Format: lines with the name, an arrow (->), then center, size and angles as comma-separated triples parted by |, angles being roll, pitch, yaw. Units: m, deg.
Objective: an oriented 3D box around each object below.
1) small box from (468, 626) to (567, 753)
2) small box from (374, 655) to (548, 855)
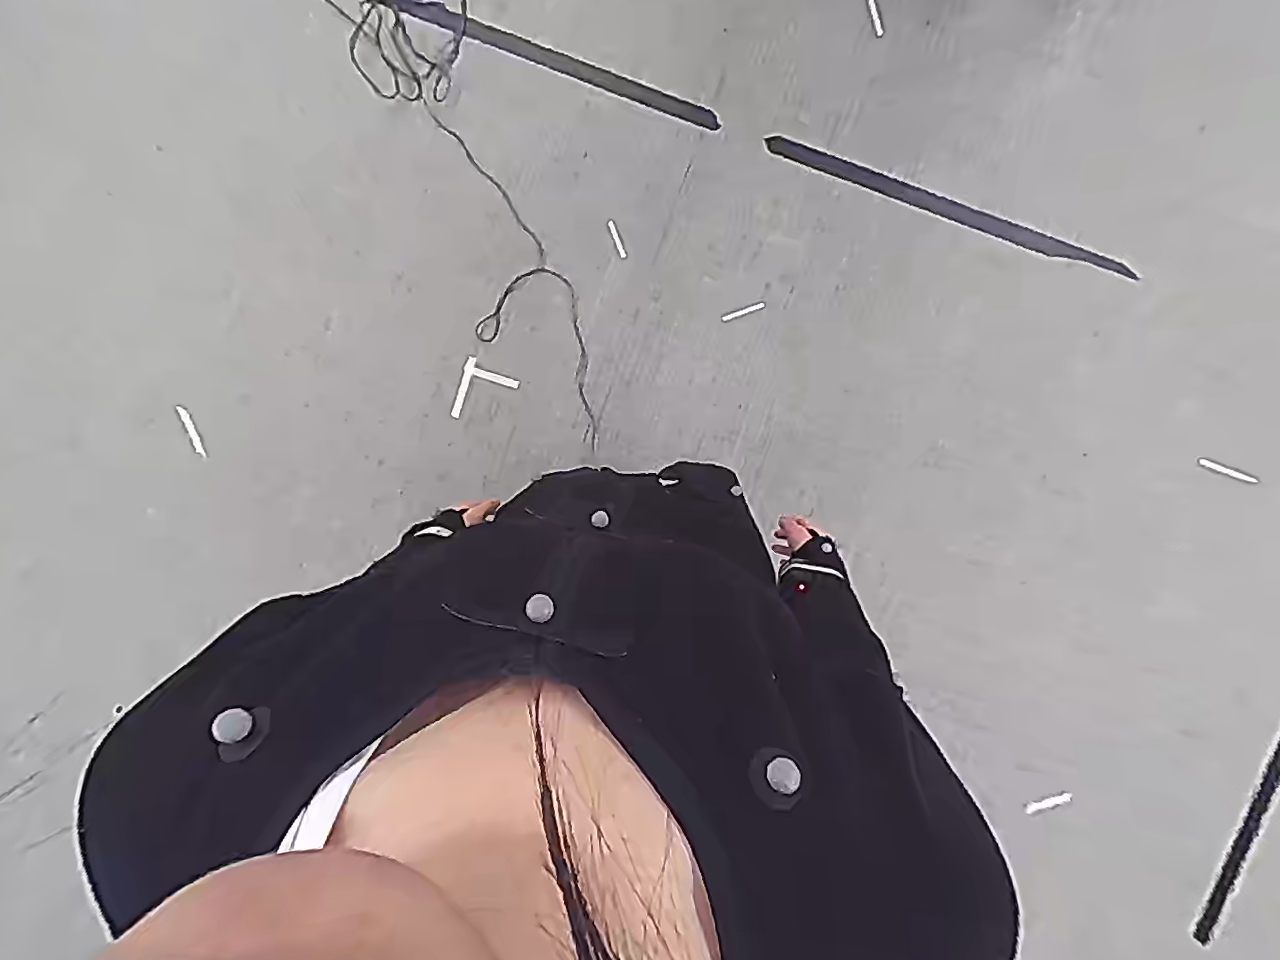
small box -> -0.240, 0.385, 0.957 | 0.168, 0.176, 0.179 | 25, 92, 1
small box -> -0.246, 0.386, 0.794 | 0.168, 0.176, 0.179 | 23, 93, 0
